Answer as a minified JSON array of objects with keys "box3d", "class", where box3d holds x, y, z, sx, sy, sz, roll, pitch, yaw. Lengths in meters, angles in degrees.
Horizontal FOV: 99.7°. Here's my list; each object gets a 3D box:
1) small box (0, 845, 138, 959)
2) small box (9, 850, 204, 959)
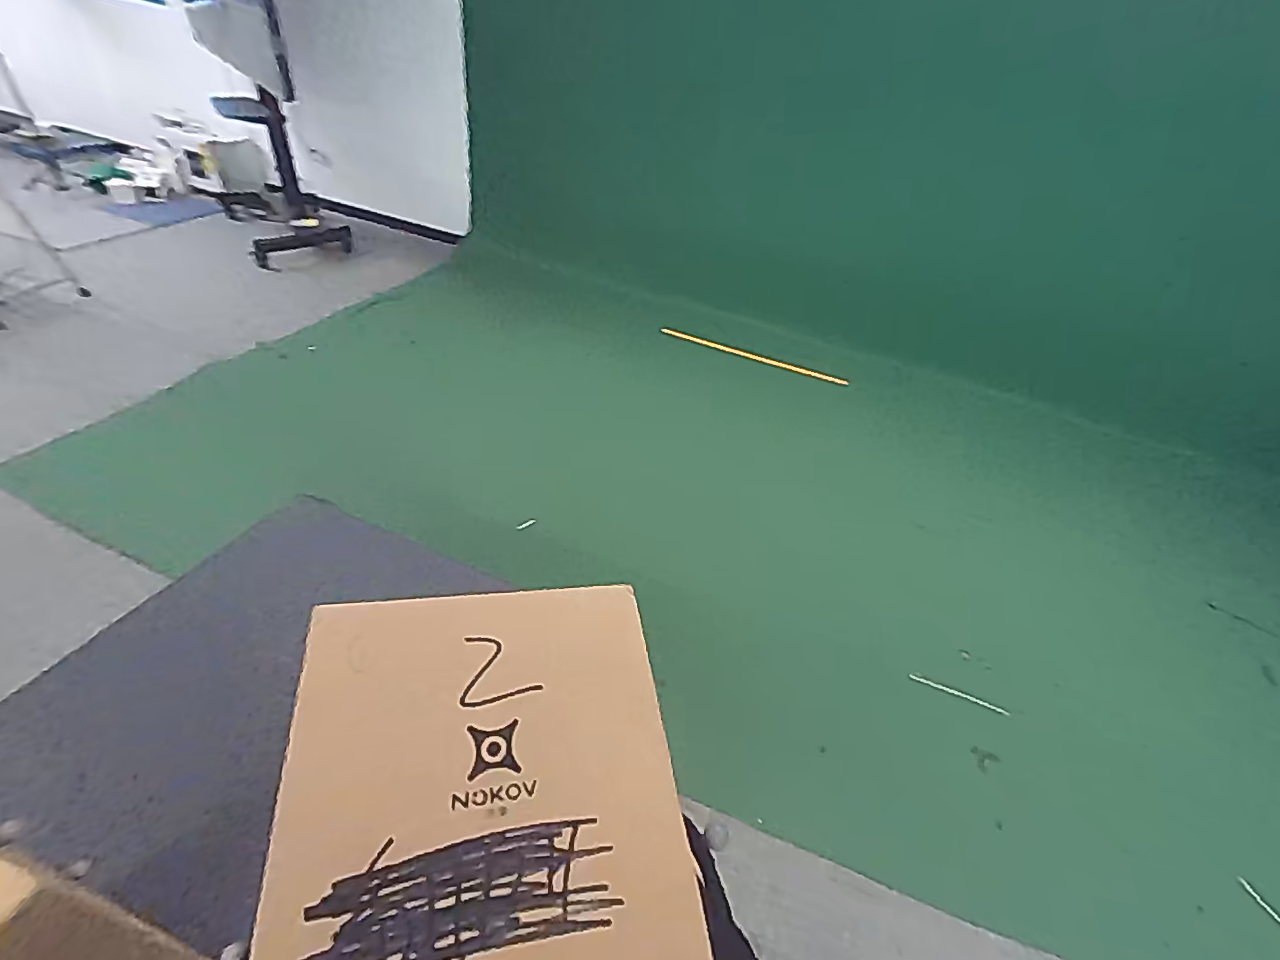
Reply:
[{"box3d":[-0.506,0.337,0.354,0.179,0.176,0.168,18,40,10],"class":"small box"},{"box3d":[-0.527,0.461,0.457,0.179,0.176,0.168,18,41,10],"class":"small box"}]
